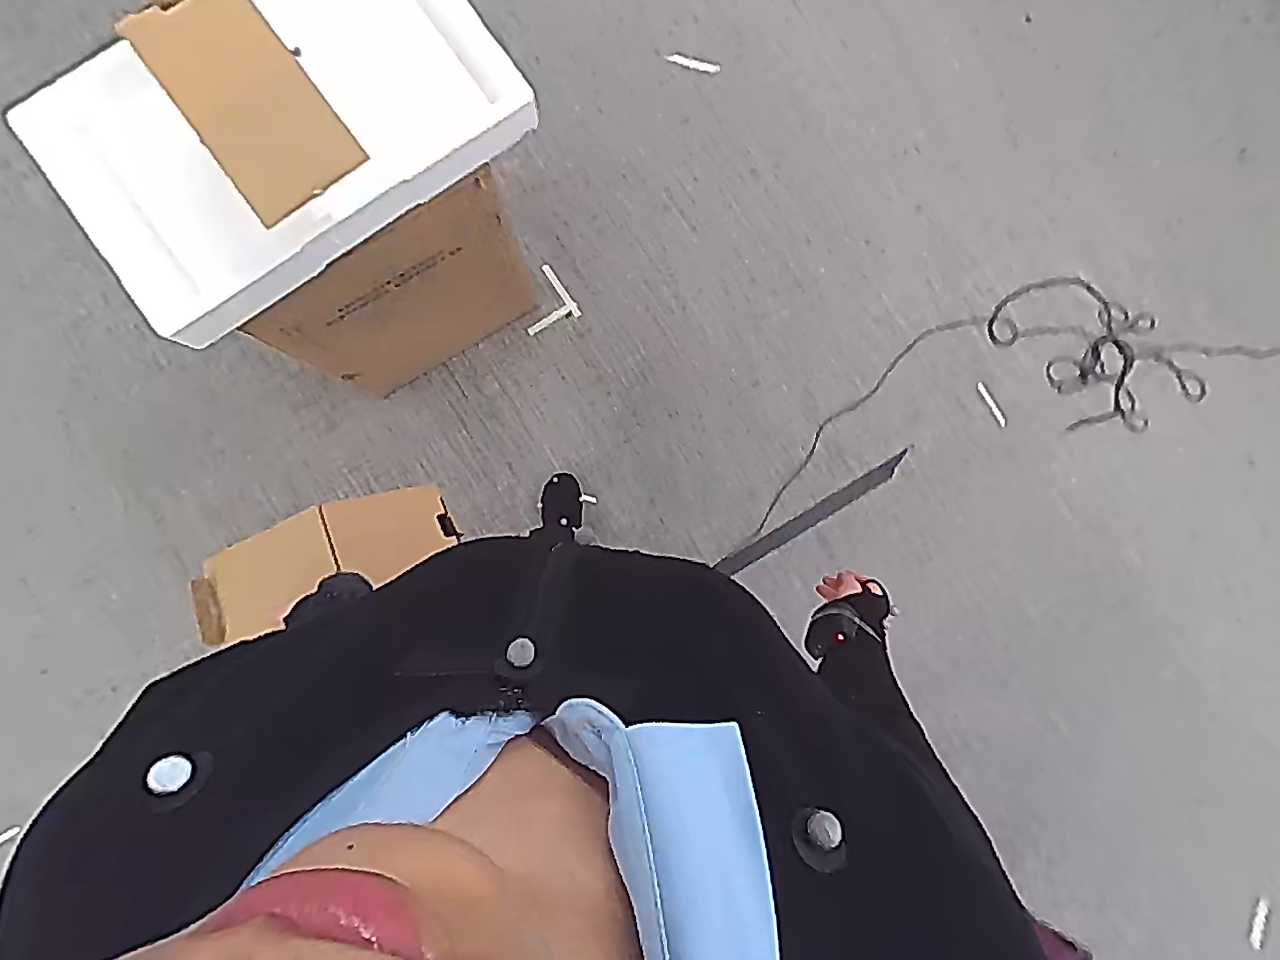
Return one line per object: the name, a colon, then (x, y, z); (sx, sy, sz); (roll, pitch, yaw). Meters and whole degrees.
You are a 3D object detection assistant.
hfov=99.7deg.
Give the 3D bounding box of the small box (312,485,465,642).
small box: (-0.402, 0.134, 0.861); (0.179, 0.176, 0.168); (-14, 64, -37)
